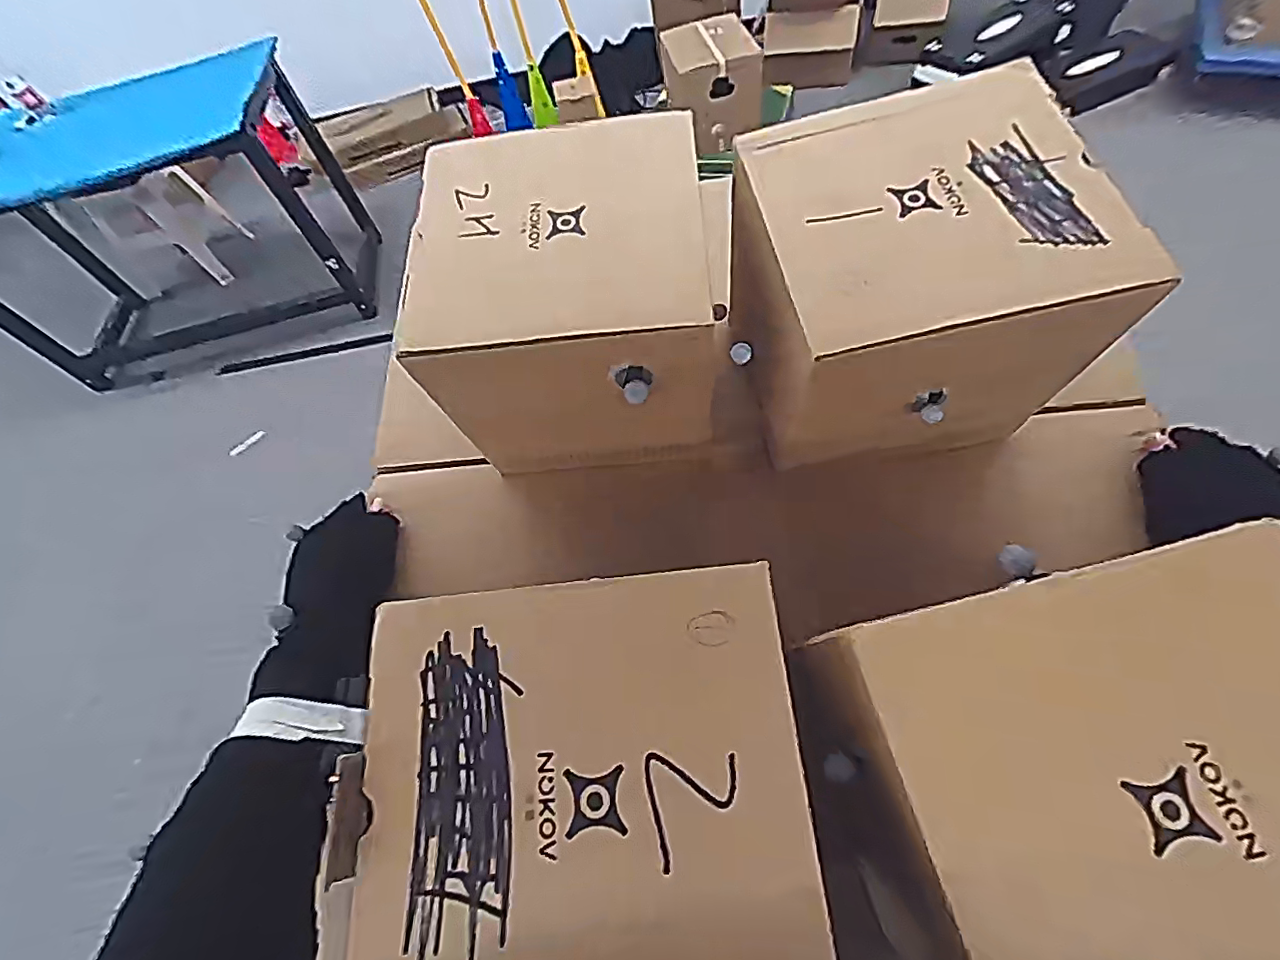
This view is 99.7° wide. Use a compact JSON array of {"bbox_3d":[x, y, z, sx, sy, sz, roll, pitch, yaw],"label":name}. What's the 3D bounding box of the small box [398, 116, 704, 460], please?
[{"bbox_3d":[-0.045,-0.125,0.402,0.179,0.176,0.168,-4,67,6],"label":"small box"}]
